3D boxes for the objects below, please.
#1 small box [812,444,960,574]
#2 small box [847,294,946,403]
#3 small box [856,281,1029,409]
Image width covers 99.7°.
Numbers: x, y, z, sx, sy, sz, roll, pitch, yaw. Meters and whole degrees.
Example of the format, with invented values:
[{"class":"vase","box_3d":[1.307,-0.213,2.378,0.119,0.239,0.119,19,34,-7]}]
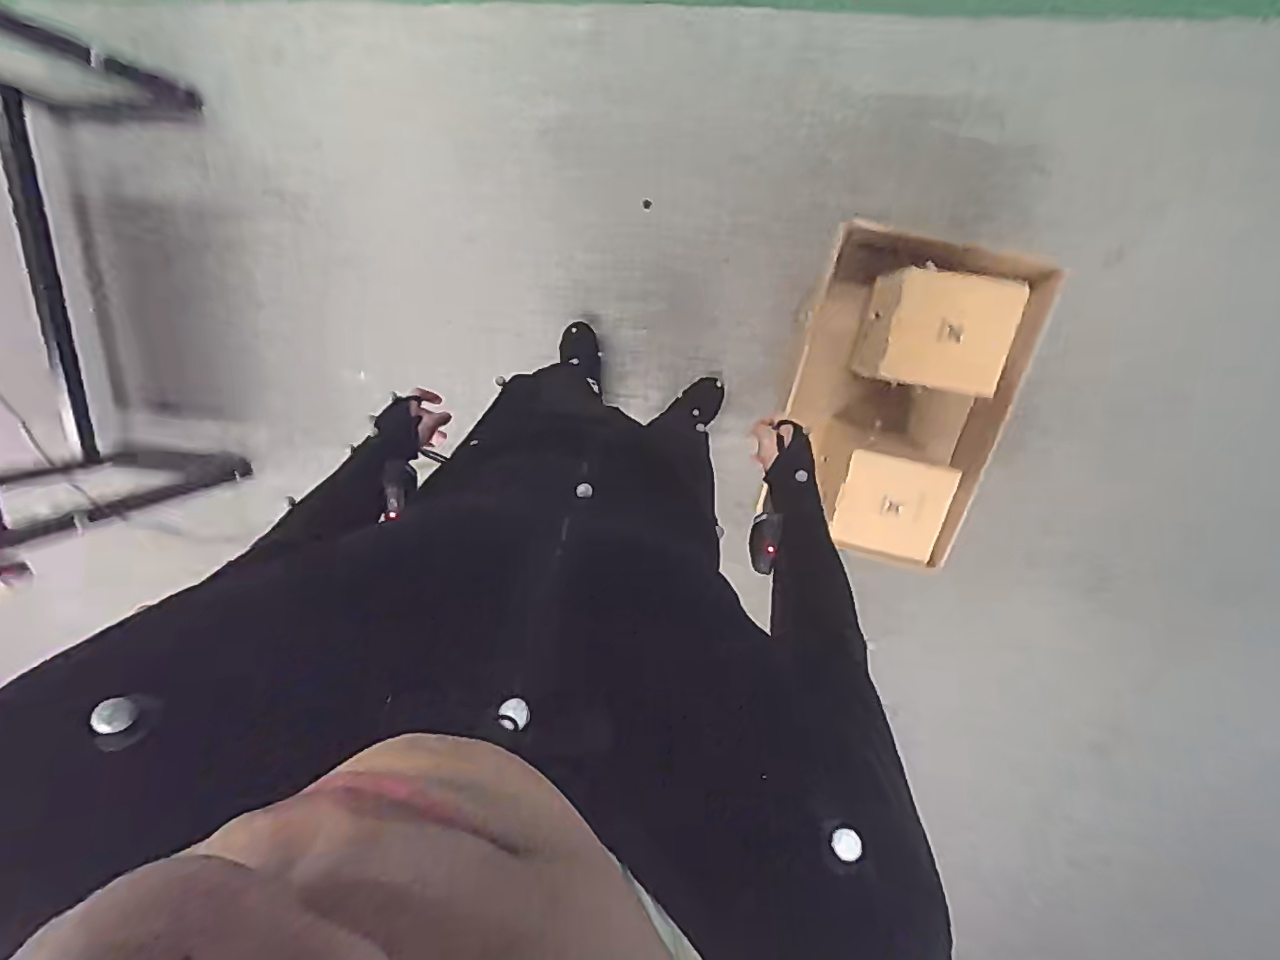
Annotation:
[{"class":"small box","box_3d":[0.424,0.042,0.971,0.179,0.176,0.168,14,108,5]},{"class":"small box","box_3d":[0.517,-0.260,1.047,0.168,0.176,0.179,13,107,6]},{"class":"small box","box_3d":[0.481,-0.224,0.892,0.179,0.176,0.168,12,107,7]}]
